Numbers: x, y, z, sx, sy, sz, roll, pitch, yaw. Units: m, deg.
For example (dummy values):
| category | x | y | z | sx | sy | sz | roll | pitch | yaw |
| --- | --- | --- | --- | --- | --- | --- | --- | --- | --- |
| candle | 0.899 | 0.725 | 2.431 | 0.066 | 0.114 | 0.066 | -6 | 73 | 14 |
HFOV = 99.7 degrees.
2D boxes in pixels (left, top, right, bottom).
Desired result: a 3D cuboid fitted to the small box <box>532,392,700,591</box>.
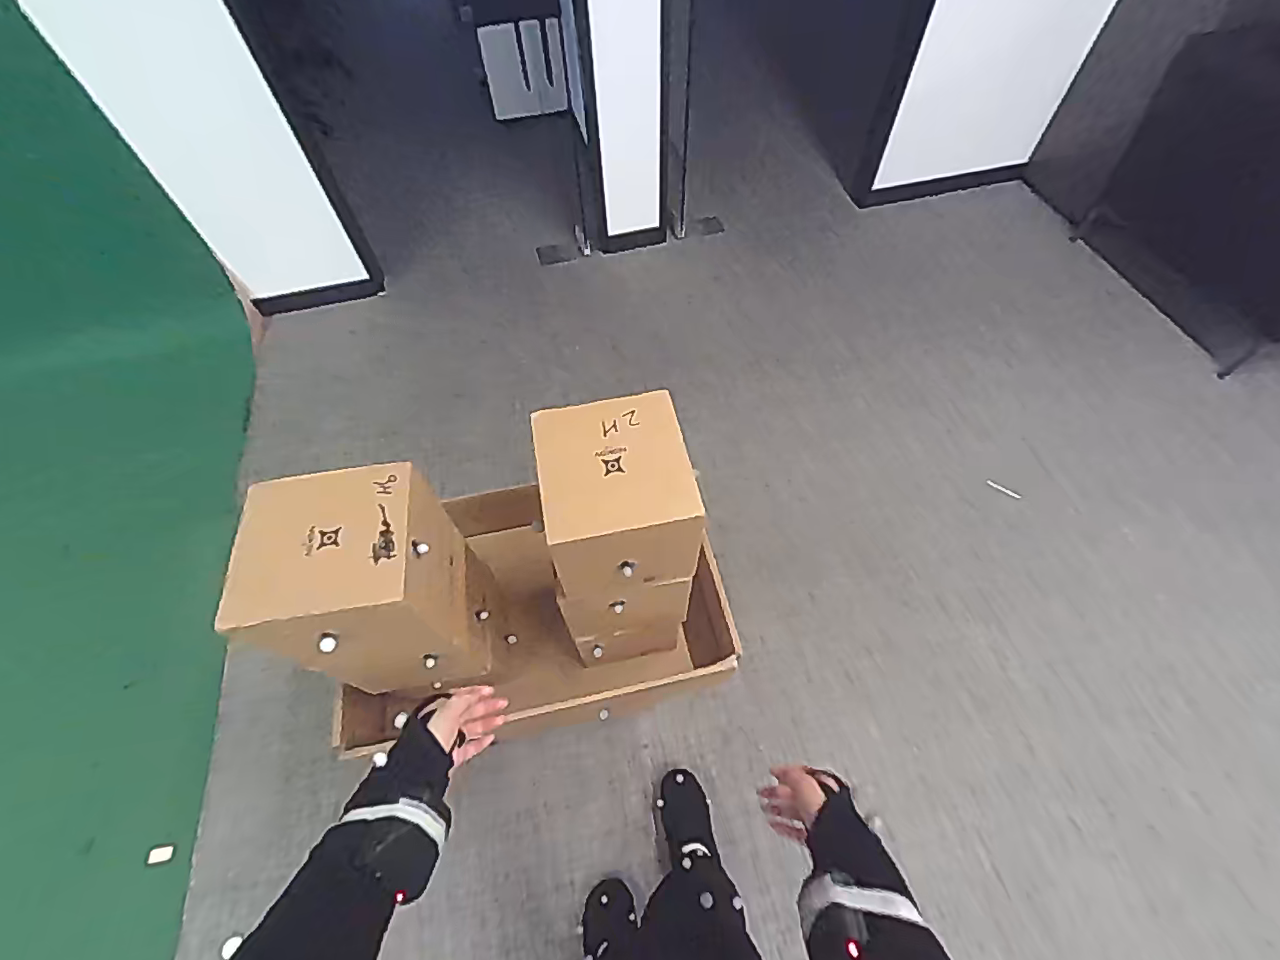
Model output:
| category | x | y | z | sx | sy | sz | roll | pitch | yaw |
| --- | --- | --- | --- | --- | --- | --- | --- | --- | --- |
| small box | -0.029 | 0.023 | 0.657 | 0.168 | 0.176 | 0.179 | -10 | 58 | -5 |

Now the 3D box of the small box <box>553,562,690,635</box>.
| category | x | y | z | sx | sy | sz | roll | pitch | yaw |
| --- | --- | --- | --- | --- | --- | --- | --- | --- | --- |
| small box | -0.030 | 0.116 | 0.794 | 0.179 | 0.176 | 0.168 | -8 | 58 | -4 |

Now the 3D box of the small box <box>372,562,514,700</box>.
| category | x | y | z | sx | sy | sz | roll | pitch | yaw |
| --- | --- | --- | --- | --- | --- | --- | --- | --- | --- |
| small box | -0.320 | 0.259 | 0.909 | 0.179 | 0.176 | 0.168 | -9 | 59 | -5 |

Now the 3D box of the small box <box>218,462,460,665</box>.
| category | x | y | z | sx | sy | sz | roll | pitch | yaw |
| --- | --- | --- | --- | --- | --- | --- | --- | --- | --- |
| small box | -0.323 | 0.103 | 0.622 | 0.179 | 0.176 | 0.168 | -9 | 59 | -4 |
